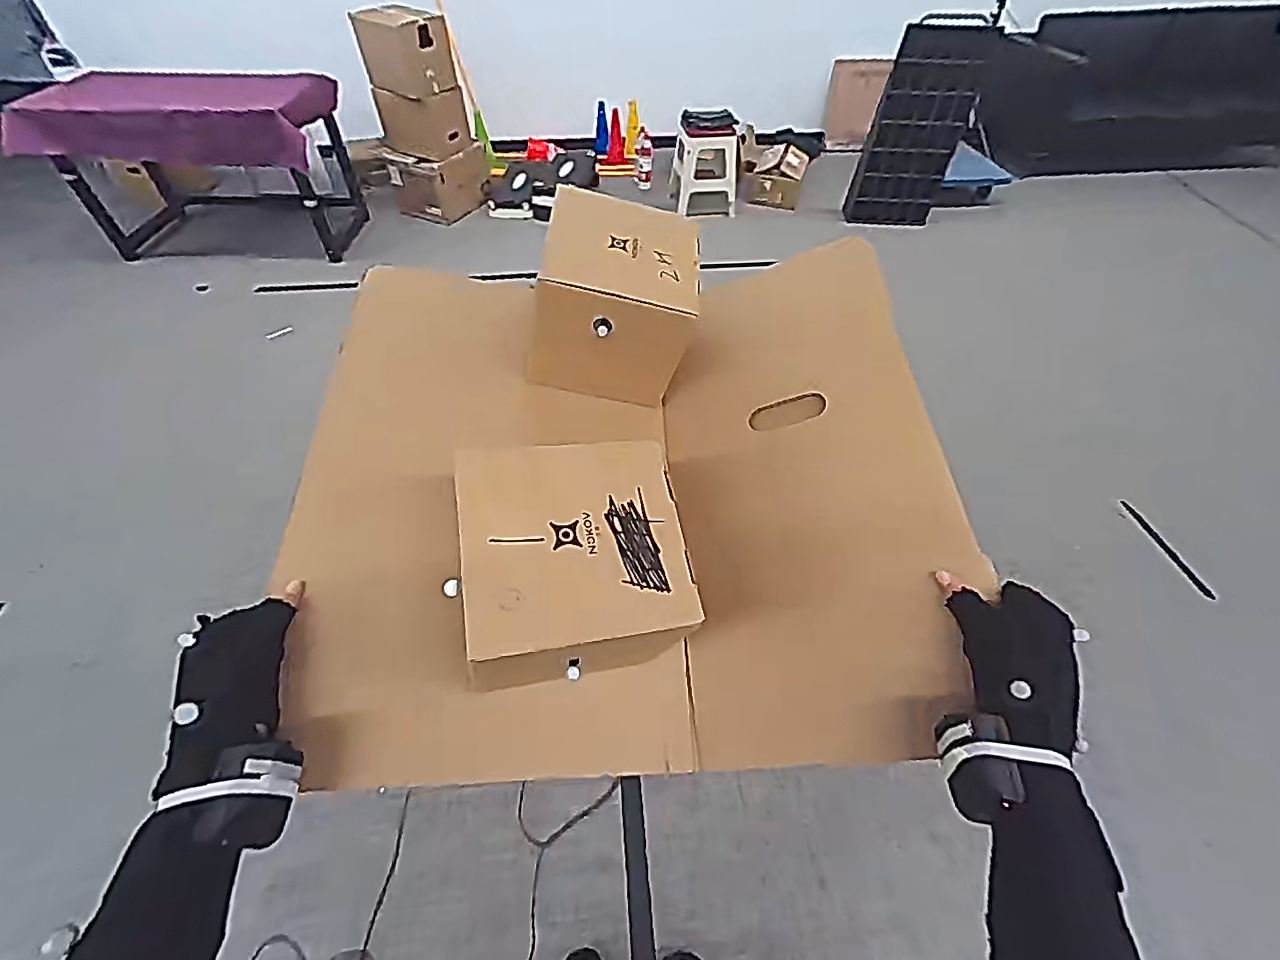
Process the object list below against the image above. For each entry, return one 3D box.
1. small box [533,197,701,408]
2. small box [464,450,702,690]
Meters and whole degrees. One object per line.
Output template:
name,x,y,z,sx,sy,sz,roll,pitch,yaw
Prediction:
small box,-0.033,-0.211,0.678,0.179,0.176,0.168,11,59,-10
small box,-0.066,0.087,0.500,0.179,0.176,0.168,-4,63,-17
